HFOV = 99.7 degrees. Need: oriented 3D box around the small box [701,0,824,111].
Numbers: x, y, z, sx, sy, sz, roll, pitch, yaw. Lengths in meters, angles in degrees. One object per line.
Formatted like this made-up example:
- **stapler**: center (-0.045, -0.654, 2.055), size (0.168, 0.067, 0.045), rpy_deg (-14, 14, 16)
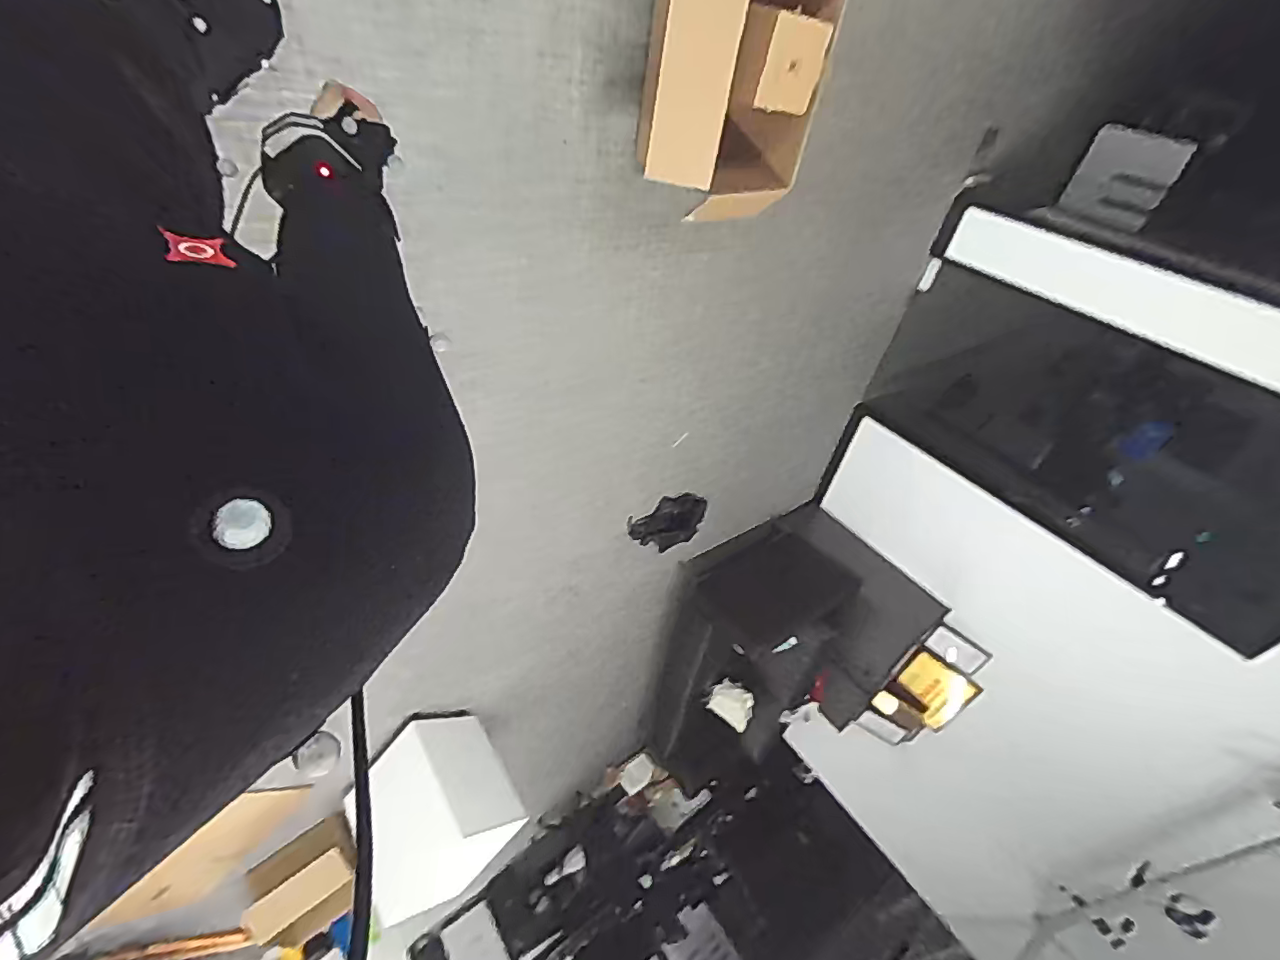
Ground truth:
- **small box**: center (0.270, -0.962, 1.223), size (0.179, 0.176, 0.168), rpy_deg (-18, 140, -32)
